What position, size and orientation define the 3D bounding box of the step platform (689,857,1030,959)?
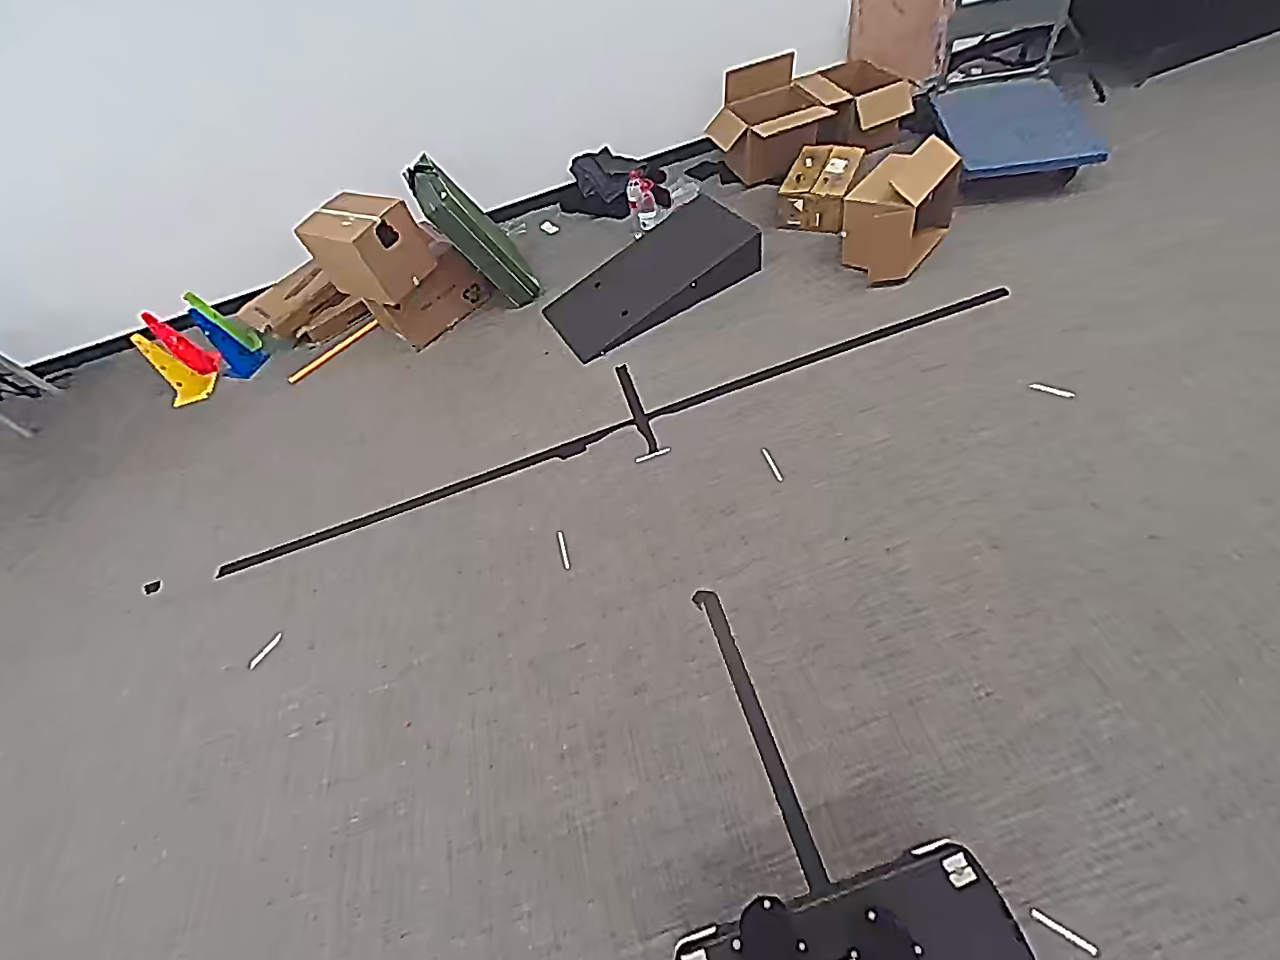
[{"bbox_3d":[0.421,1.029,1.077,0.684,0.204,0.286,-20,54,-3],"label":"step platform"}]
